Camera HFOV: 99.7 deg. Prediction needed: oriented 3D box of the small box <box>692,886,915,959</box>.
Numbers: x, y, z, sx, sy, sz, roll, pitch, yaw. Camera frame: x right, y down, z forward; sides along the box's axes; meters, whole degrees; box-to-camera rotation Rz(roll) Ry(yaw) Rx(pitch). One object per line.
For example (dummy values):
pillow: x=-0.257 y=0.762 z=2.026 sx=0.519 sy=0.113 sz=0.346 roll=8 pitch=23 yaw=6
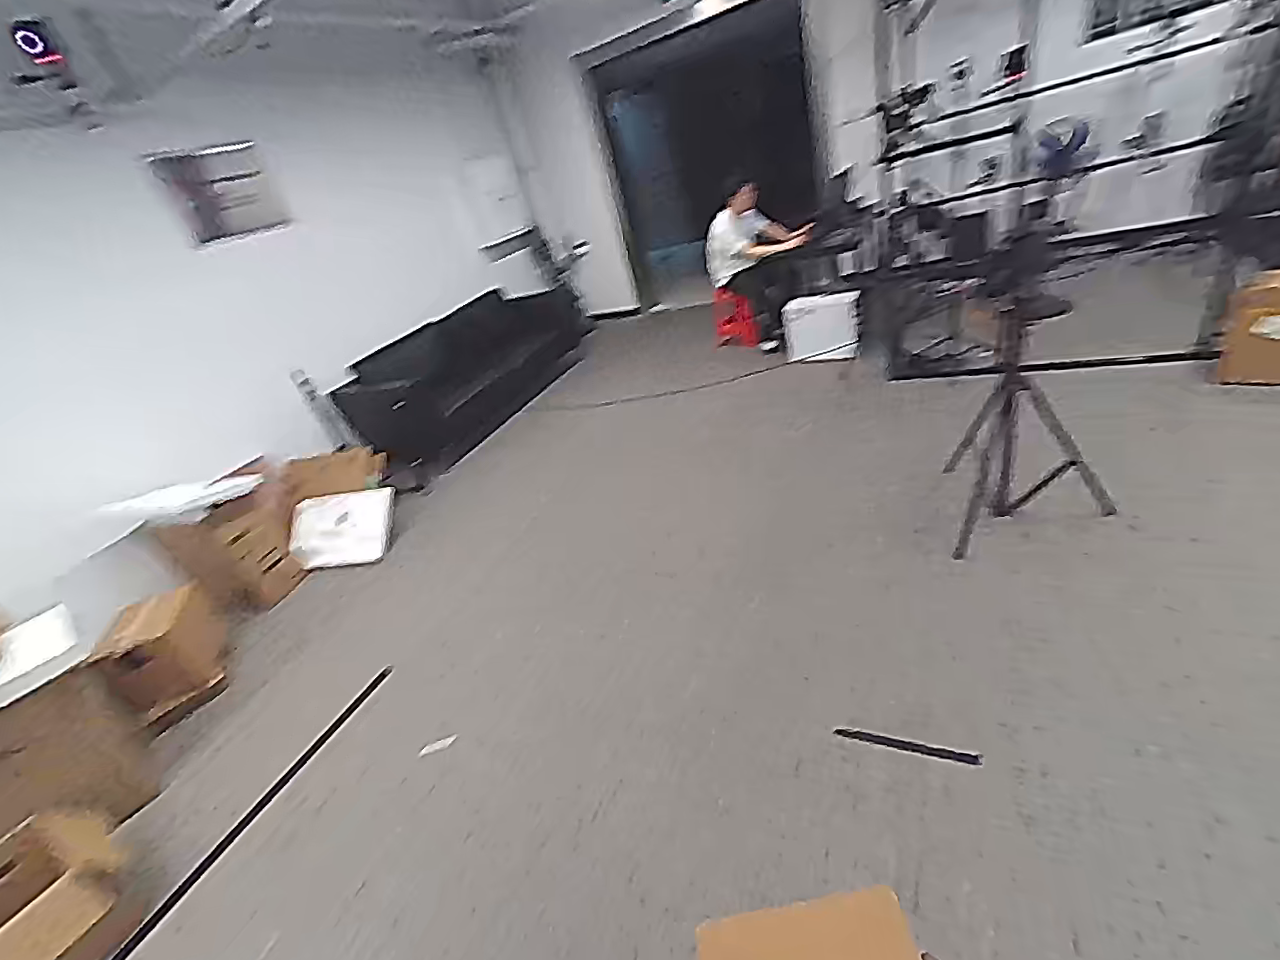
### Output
small box: x=0.145 y=0.456 z=0.412 sx=0.168 sy=0.176 sz=0.179 roll=-15 pitch=35 yaw=3
